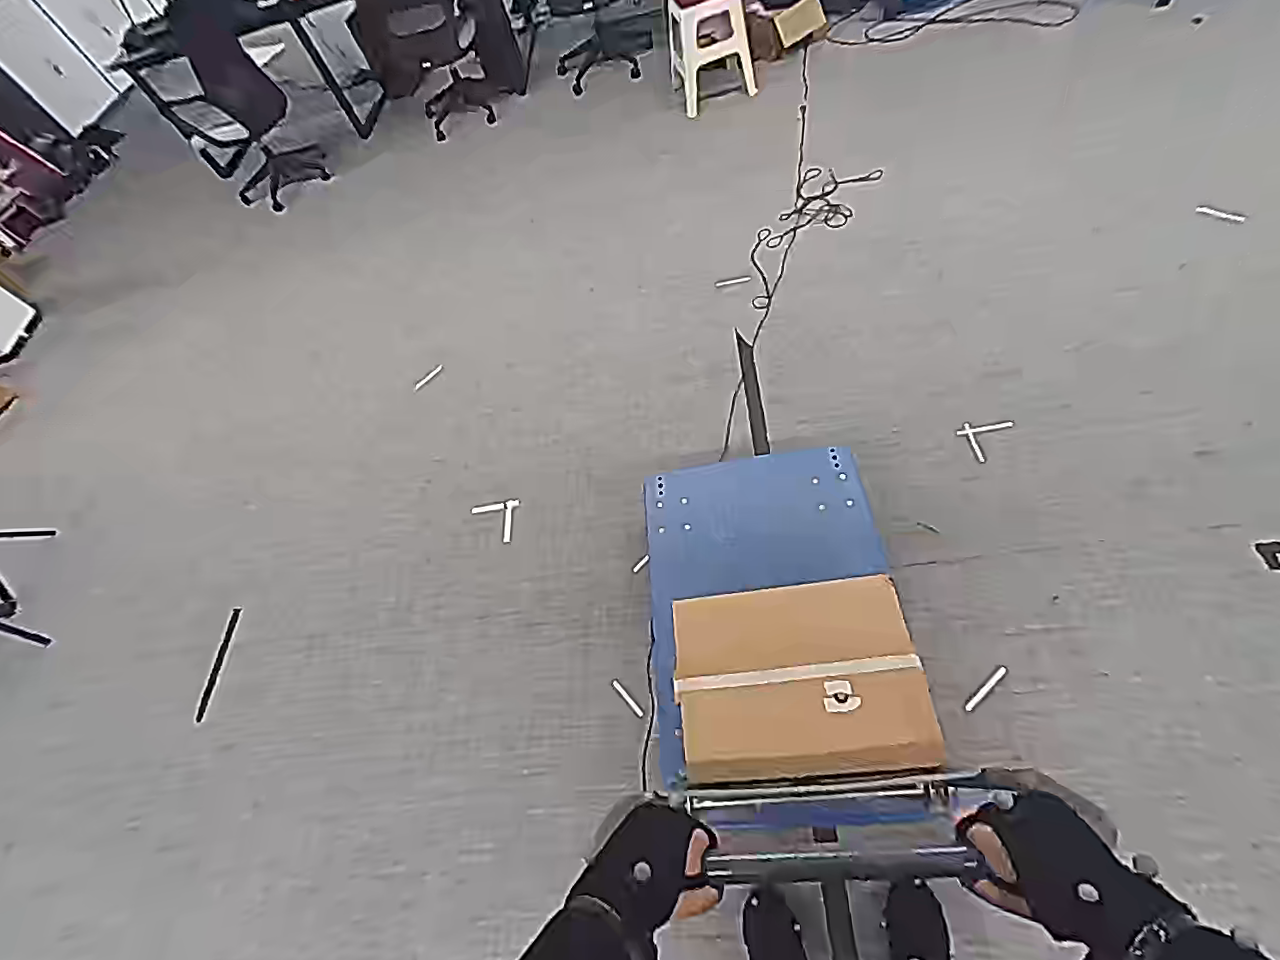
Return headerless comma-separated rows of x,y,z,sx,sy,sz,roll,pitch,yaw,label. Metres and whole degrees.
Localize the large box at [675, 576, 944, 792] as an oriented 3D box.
0.302,0.417,1.068,0.408,0.320,0.320,-10,58,9,large box
